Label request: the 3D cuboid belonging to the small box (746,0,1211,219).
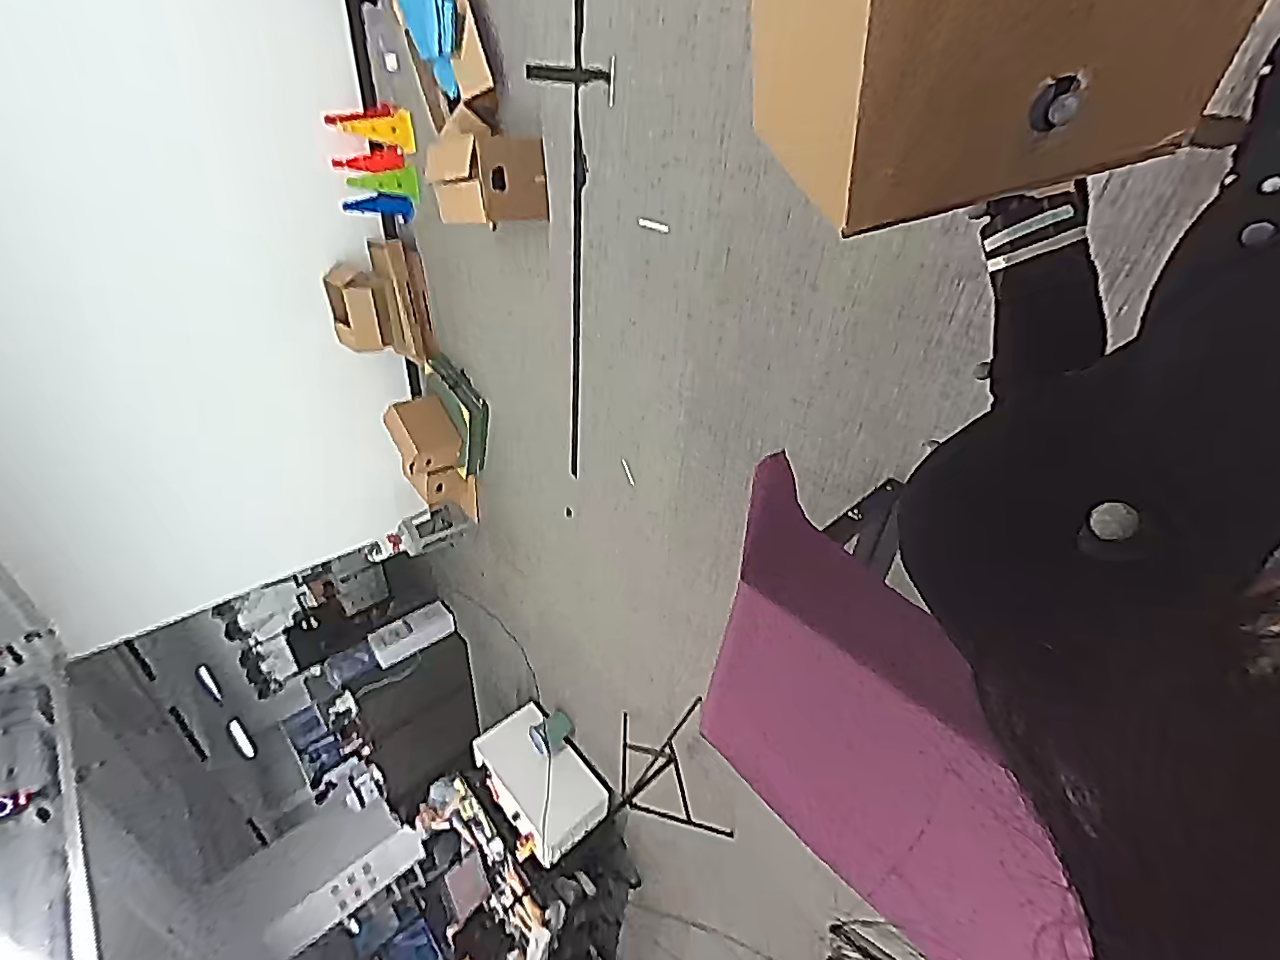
[{"bbox_3d":[0.155,-0.265,0.262,0.176,0.179,0.168,73,-174,-49],"label":"small box"}]
